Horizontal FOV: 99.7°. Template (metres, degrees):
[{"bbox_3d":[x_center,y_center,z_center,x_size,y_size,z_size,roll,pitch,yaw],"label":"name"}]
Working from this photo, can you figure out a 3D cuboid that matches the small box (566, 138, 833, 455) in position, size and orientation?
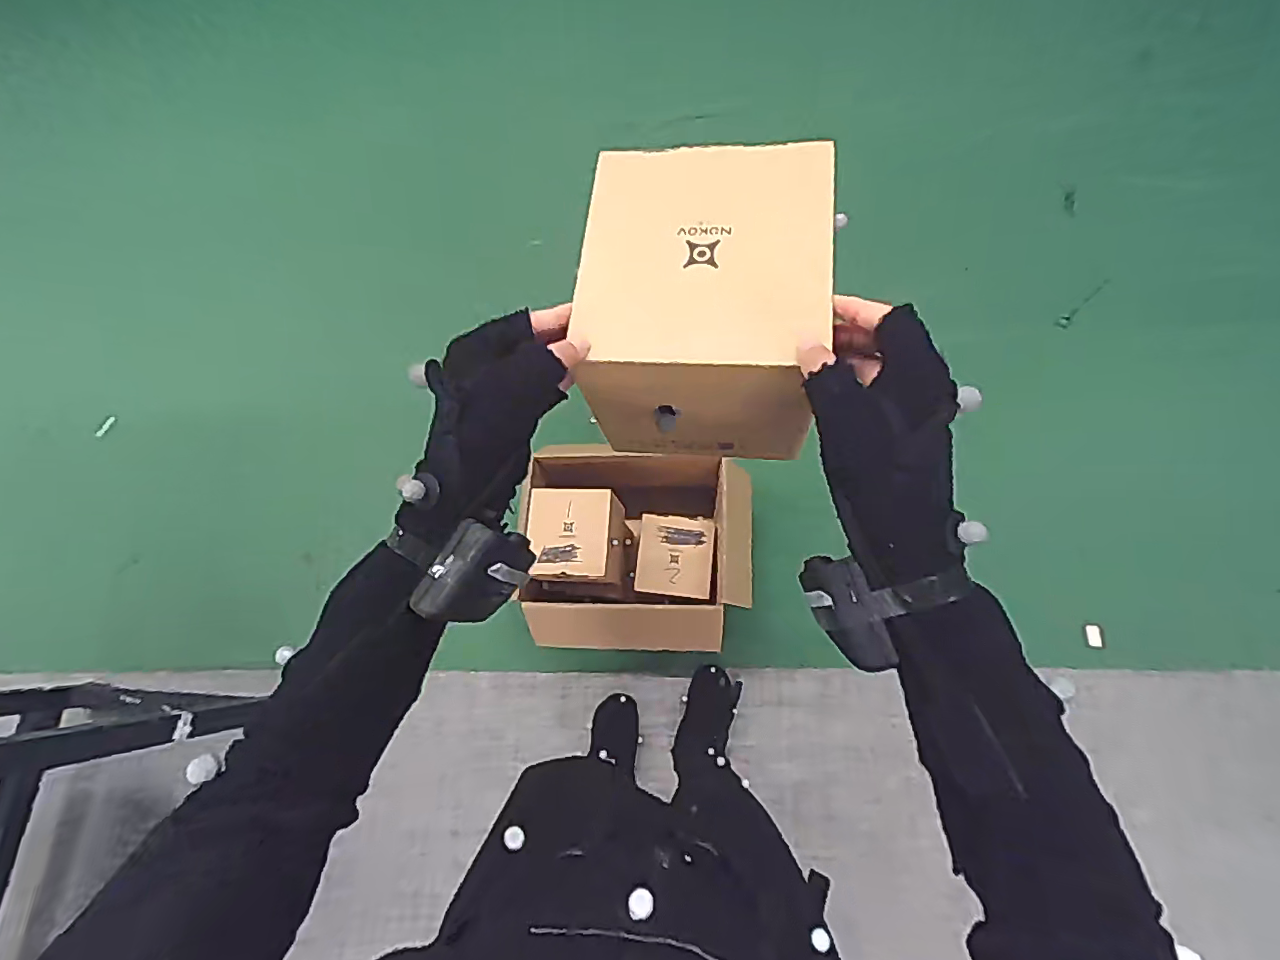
[{"bbox_3d":[0.053,-0.128,0.429,0.168,0.176,0.179,3,72,10],"label":"small box"}]
